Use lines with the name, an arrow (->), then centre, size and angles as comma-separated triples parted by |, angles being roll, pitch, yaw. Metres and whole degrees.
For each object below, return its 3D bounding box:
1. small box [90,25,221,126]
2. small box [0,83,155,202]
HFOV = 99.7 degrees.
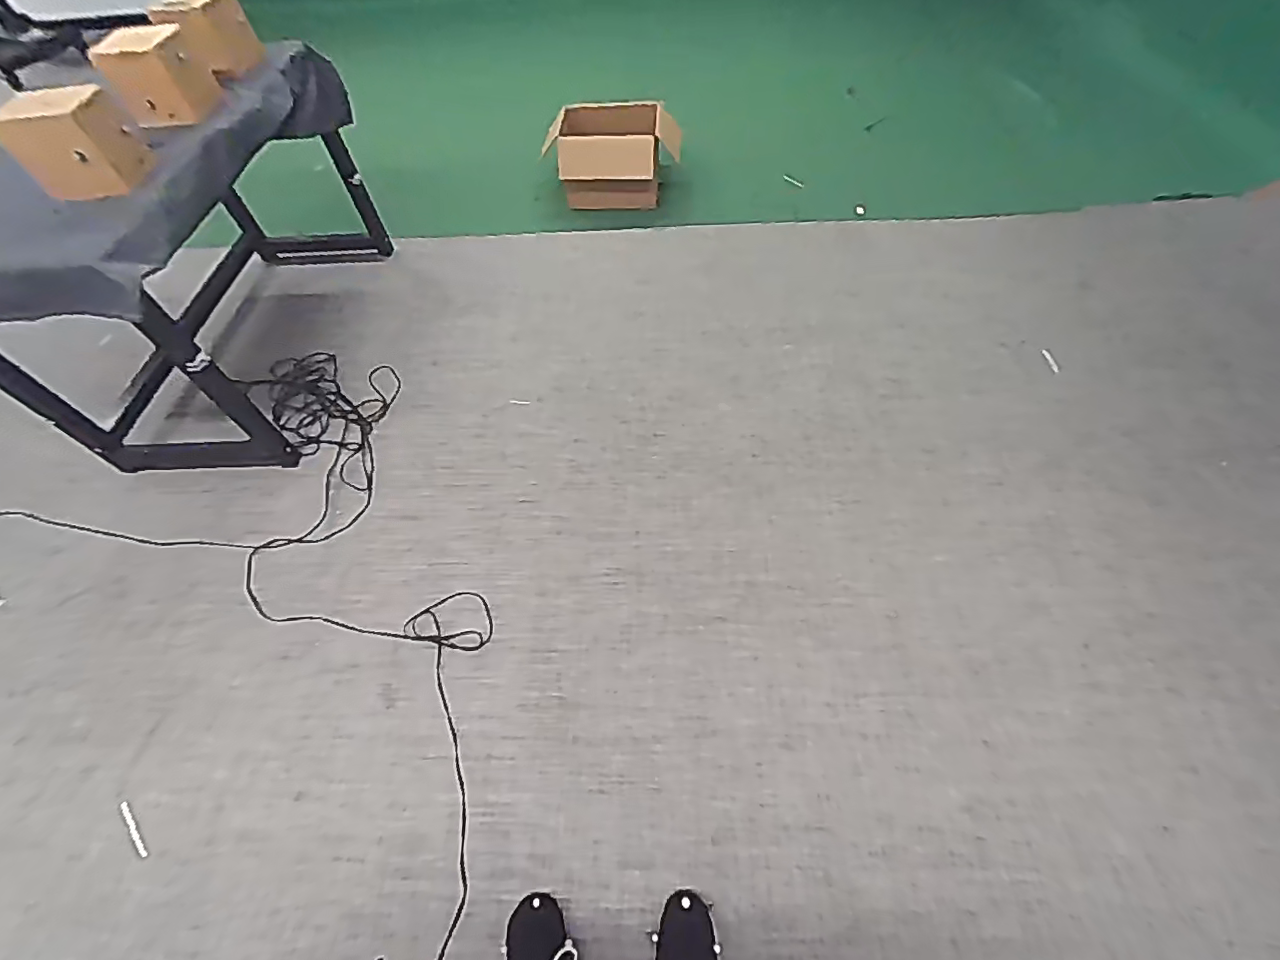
small box -> -1.261, -1.065, 1.428 | 0.168, 0.176, 0.179 | -4, 57, 1
small box -> -1.261, -0.755, 1.217 | 0.179, 0.176, 0.168 | -11, 54, -3
